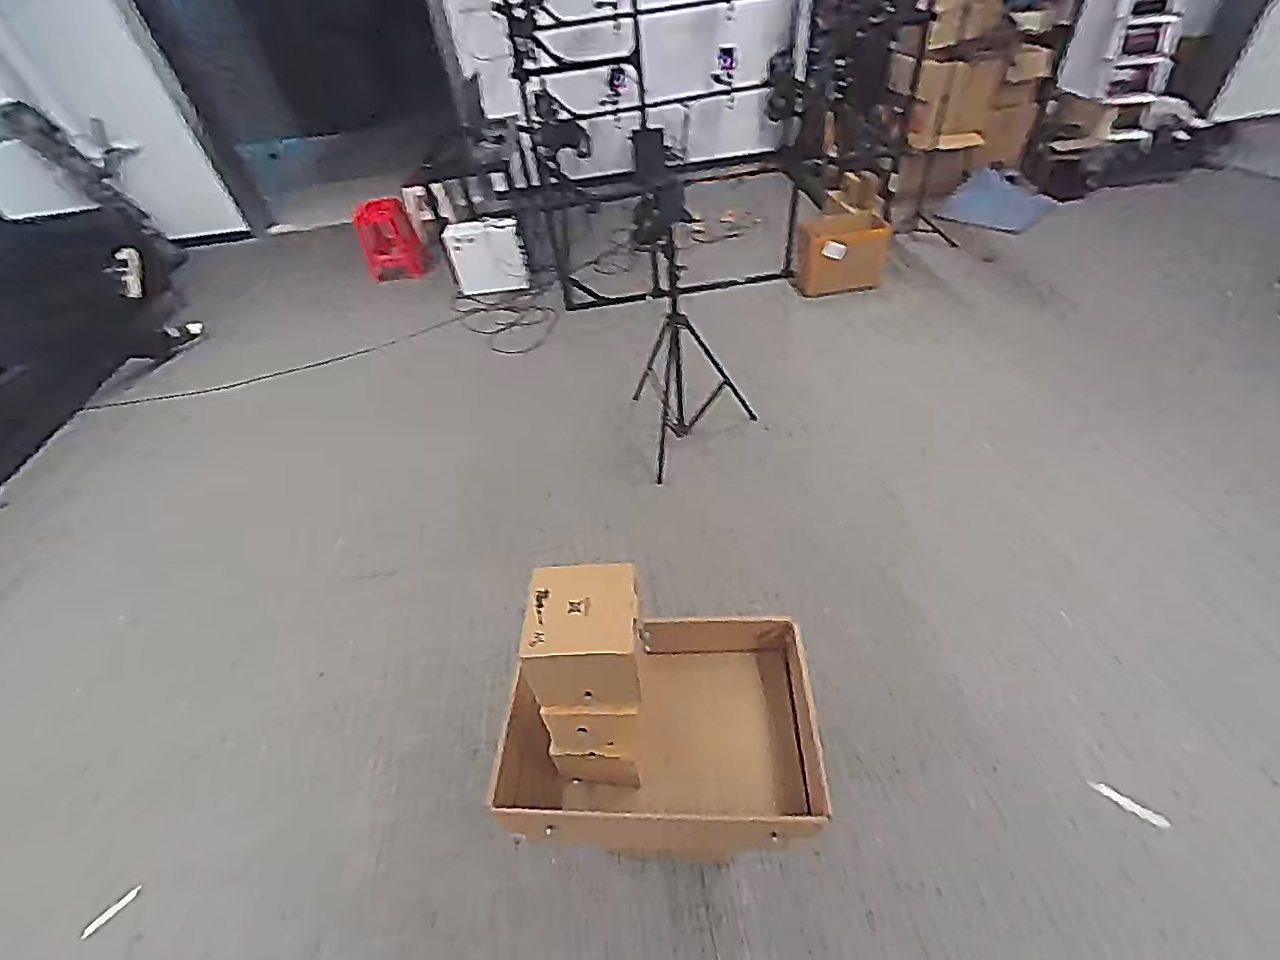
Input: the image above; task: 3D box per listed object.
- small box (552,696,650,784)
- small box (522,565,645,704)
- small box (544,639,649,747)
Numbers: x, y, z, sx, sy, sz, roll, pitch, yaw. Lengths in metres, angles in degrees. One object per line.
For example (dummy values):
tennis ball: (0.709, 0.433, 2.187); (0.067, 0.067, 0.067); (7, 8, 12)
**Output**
small box: (-0.069, 0.506, 1.116); (0.168, 0.176, 0.179); (1, 44, 7)
small box: (-0.082, 0.258, 0.904); (0.179, 0.176, 0.168); (-2, 43, 3)
small box: (-0.071, 0.383, 1.010); (0.168, 0.176, 0.179); (-1, 44, 4)
